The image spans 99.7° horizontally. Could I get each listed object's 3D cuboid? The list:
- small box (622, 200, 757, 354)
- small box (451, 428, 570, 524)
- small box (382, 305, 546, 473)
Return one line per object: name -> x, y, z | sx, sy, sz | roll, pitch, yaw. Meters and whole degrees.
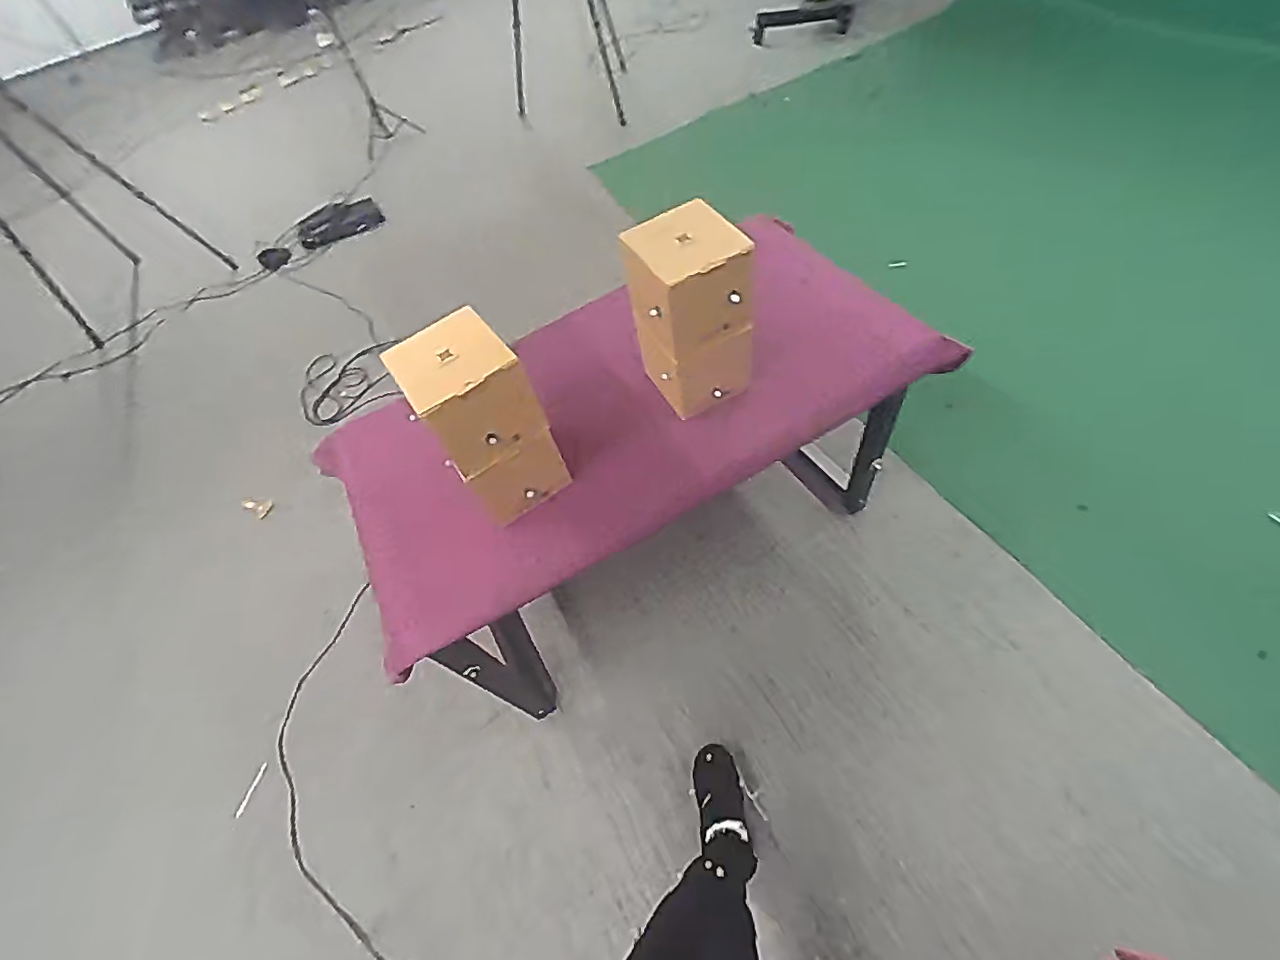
small box -> 0.090, -0.346, 0.949 | 0.168, 0.176, 0.179 | -27, 57, -8
small box -> -0.256, -0.051, 1.013 | 0.168, 0.176, 0.179 | -33, 58, -12
small box -> -0.279, -0.144, 0.881 | 0.168, 0.176, 0.179 | -34, 58, -14
